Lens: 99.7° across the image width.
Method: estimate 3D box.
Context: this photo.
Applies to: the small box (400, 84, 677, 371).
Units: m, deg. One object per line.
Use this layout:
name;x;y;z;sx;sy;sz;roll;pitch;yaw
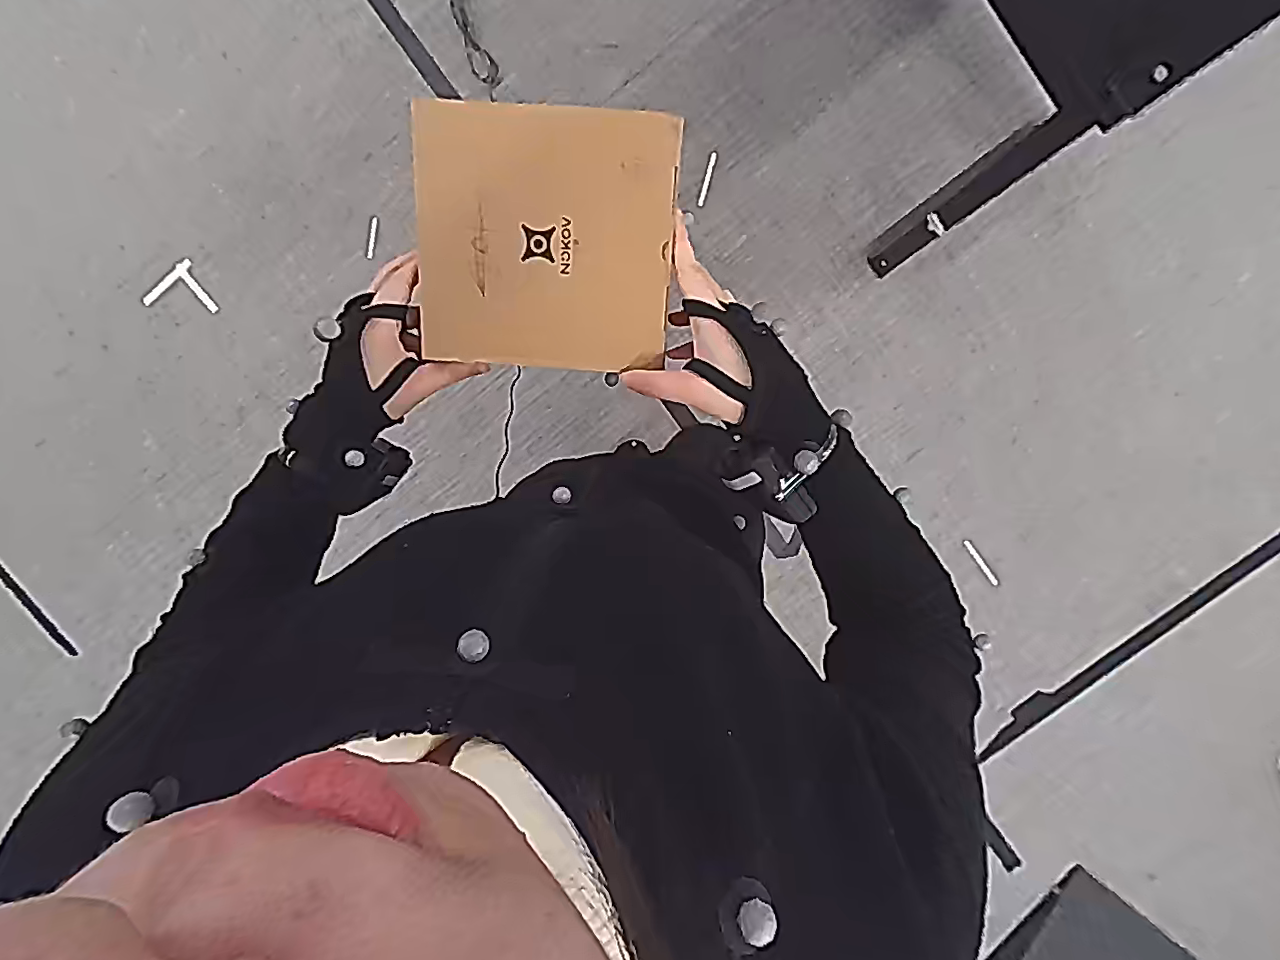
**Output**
small box;-0.066;-0.181;0.432;0.179;0.176;0.168;4;104;2
